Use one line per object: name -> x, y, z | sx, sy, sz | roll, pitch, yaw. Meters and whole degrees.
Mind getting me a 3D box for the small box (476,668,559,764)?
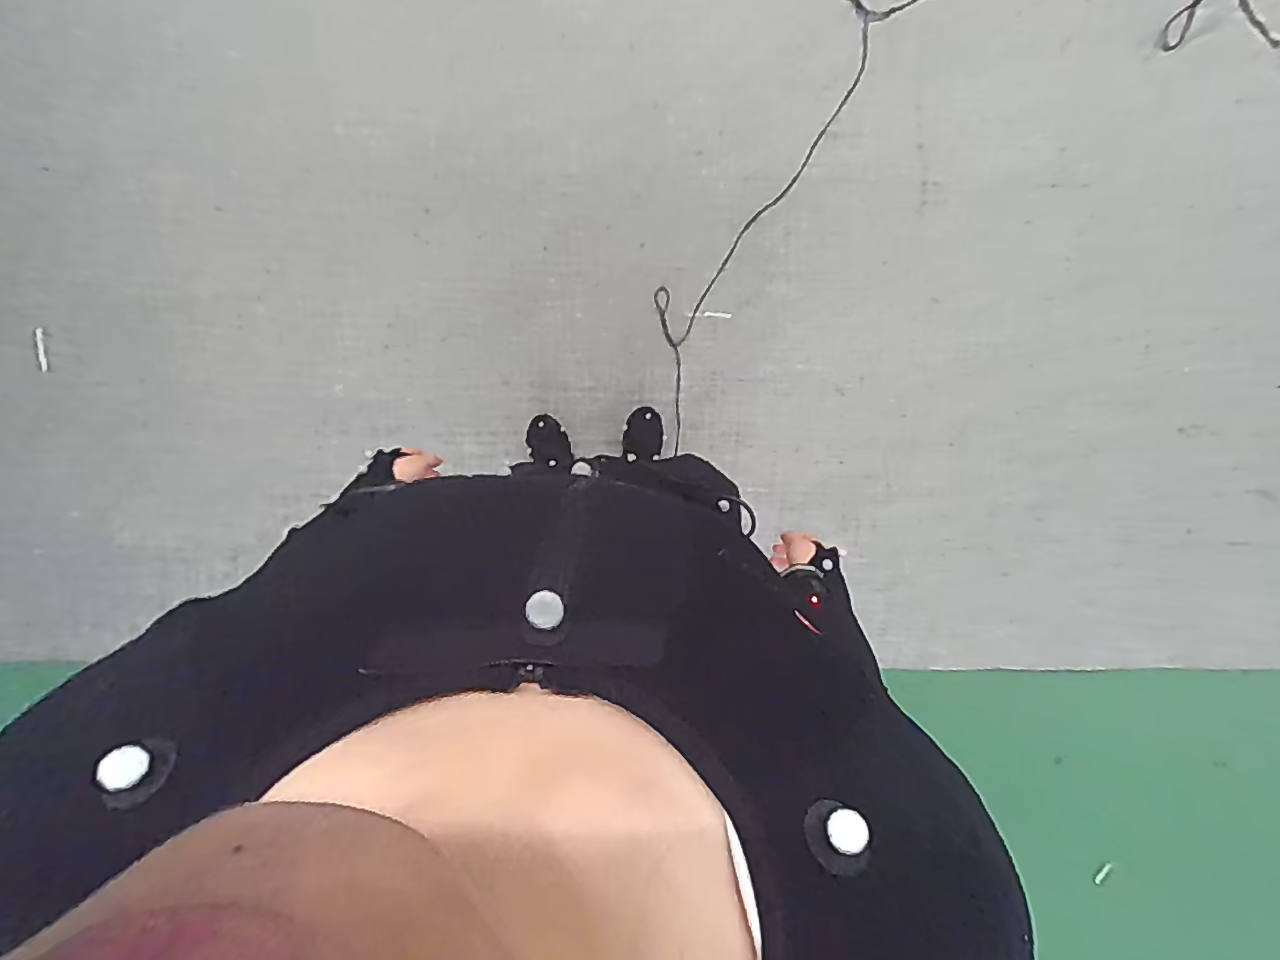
small box -> -0.283, 0.564, 1.263 | 0.168, 0.176, 0.179 | 4, 96, -2
